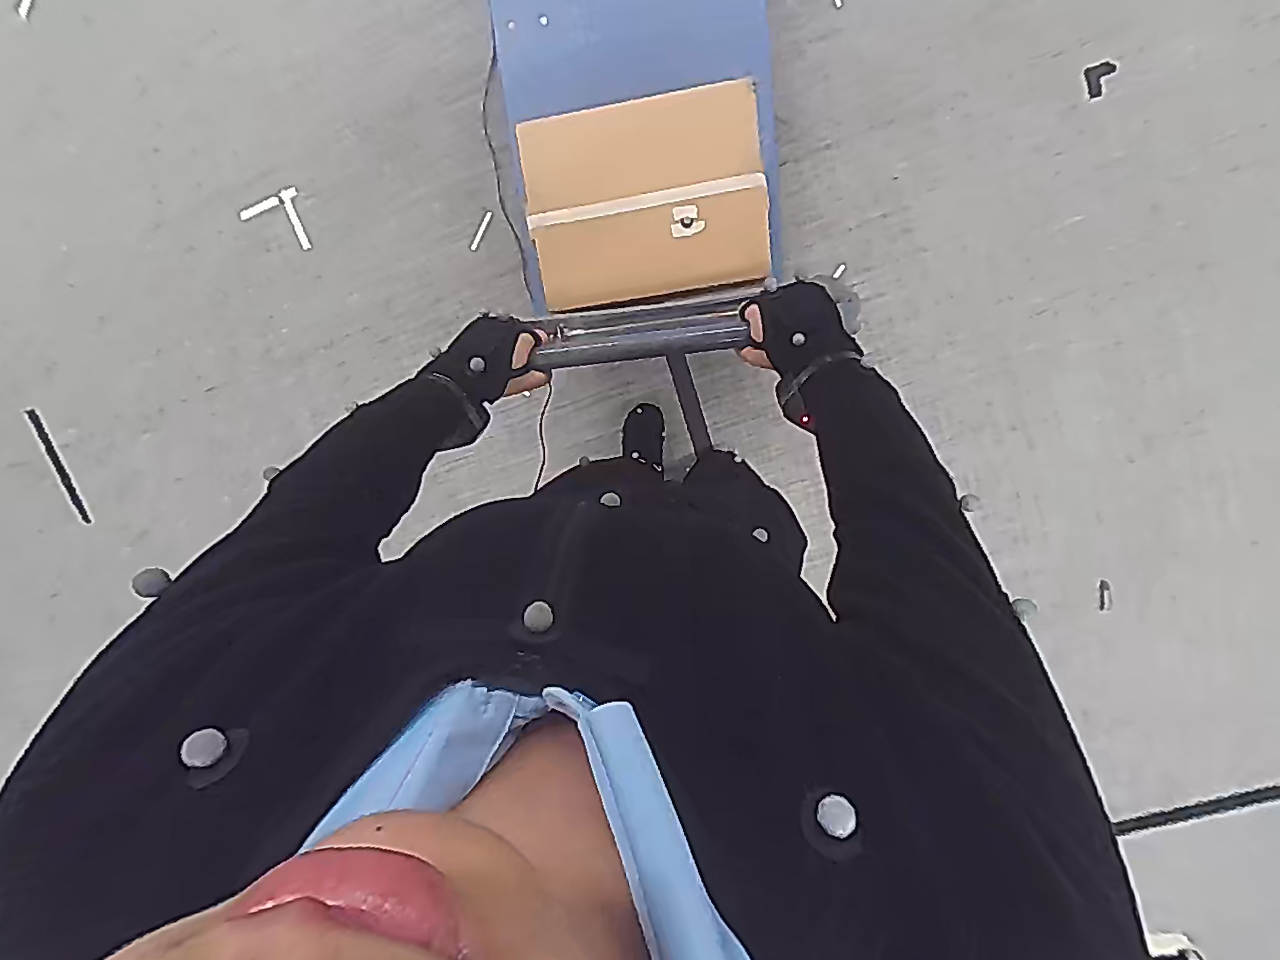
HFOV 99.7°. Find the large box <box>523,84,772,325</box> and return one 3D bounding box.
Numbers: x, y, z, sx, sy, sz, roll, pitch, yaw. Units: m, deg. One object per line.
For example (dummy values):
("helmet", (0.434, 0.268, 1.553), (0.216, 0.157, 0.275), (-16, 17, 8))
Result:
("large box", (0.022, -0.512, 1.088), (0.408, 0.320, 0.320), (-8, 103, 5))
